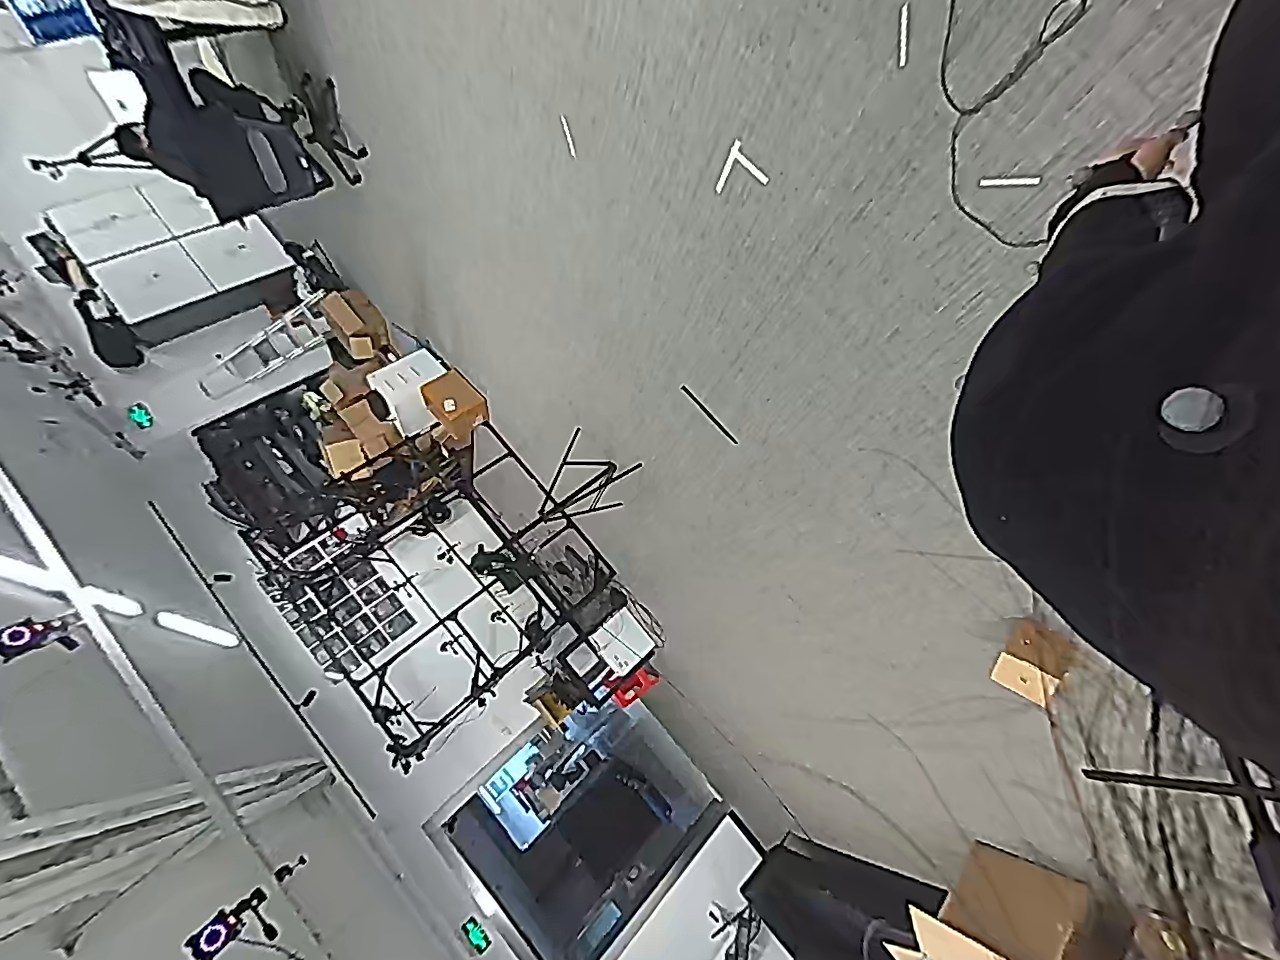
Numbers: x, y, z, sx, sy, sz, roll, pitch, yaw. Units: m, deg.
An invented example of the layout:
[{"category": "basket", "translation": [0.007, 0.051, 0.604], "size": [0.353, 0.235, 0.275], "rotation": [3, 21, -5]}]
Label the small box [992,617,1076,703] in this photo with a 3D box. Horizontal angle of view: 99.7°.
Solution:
[{"category": "small box", "translation": [1.315, 0.593, 1.801], "size": [0.168, 0.176, 0.179], "rotation": [29, 147, 40]}]
